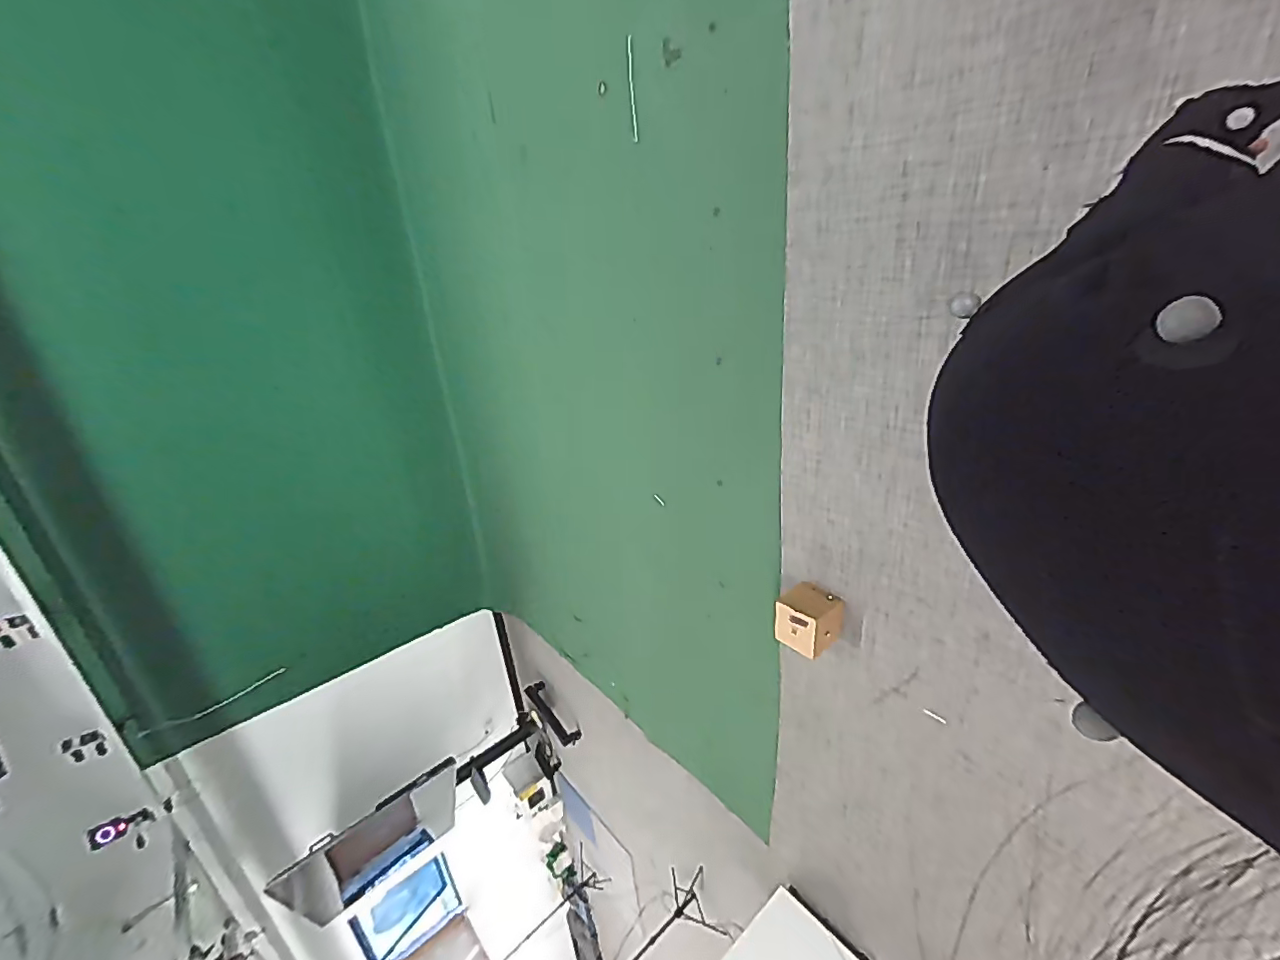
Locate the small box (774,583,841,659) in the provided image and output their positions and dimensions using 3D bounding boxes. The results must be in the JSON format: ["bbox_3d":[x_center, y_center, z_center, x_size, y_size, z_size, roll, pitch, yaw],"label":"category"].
[{"bbox_3d":[0.606,0.501,1.952,0.168,0.176,0.179,22,126,46],"label":"small box"}]
